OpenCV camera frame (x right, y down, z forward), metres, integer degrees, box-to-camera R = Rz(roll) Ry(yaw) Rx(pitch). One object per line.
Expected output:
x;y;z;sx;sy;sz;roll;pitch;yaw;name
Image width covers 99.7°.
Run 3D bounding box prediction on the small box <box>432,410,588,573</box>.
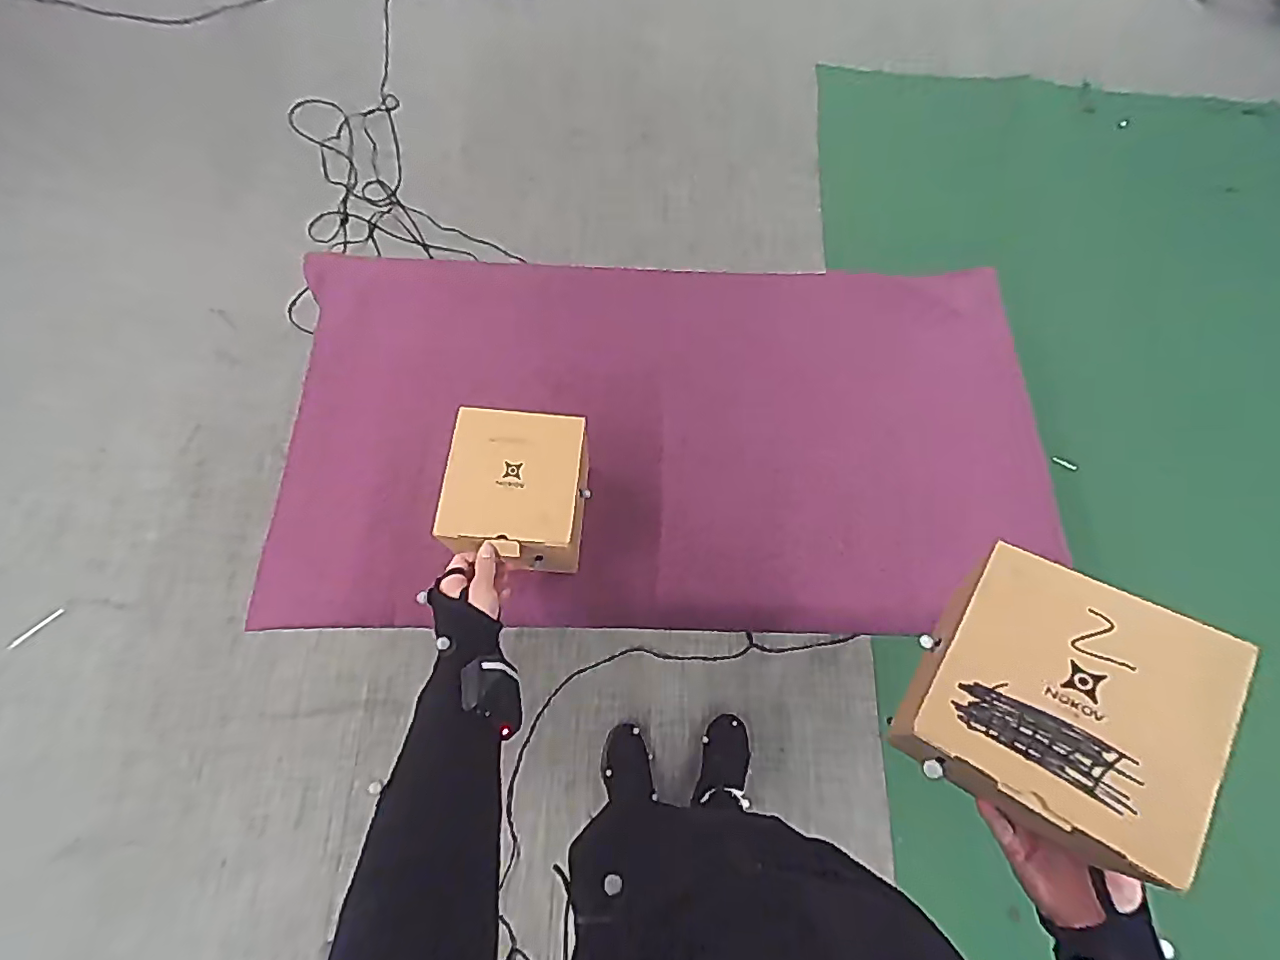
-0.165;0.025;0.751;0.168;0.176;0.179;6;68;-1;small box
